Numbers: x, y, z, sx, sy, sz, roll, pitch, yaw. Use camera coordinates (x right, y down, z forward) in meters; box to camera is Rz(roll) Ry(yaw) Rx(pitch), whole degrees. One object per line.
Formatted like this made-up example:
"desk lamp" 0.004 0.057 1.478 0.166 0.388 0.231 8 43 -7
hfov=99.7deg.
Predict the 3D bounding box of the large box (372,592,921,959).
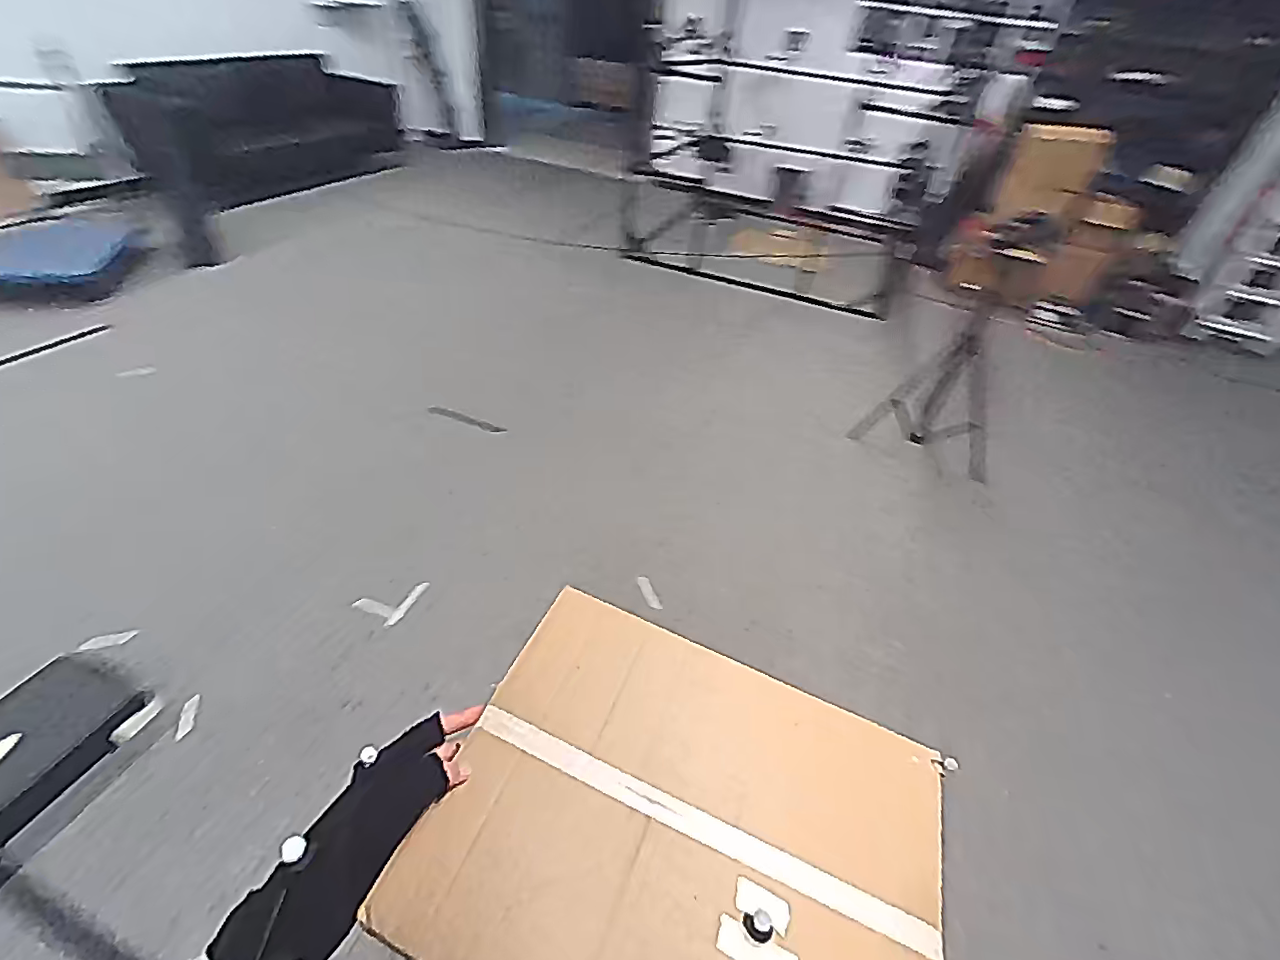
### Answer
"large box" 0.016 0.388 0.564 0.408 0.320 0.320 21 45 10
